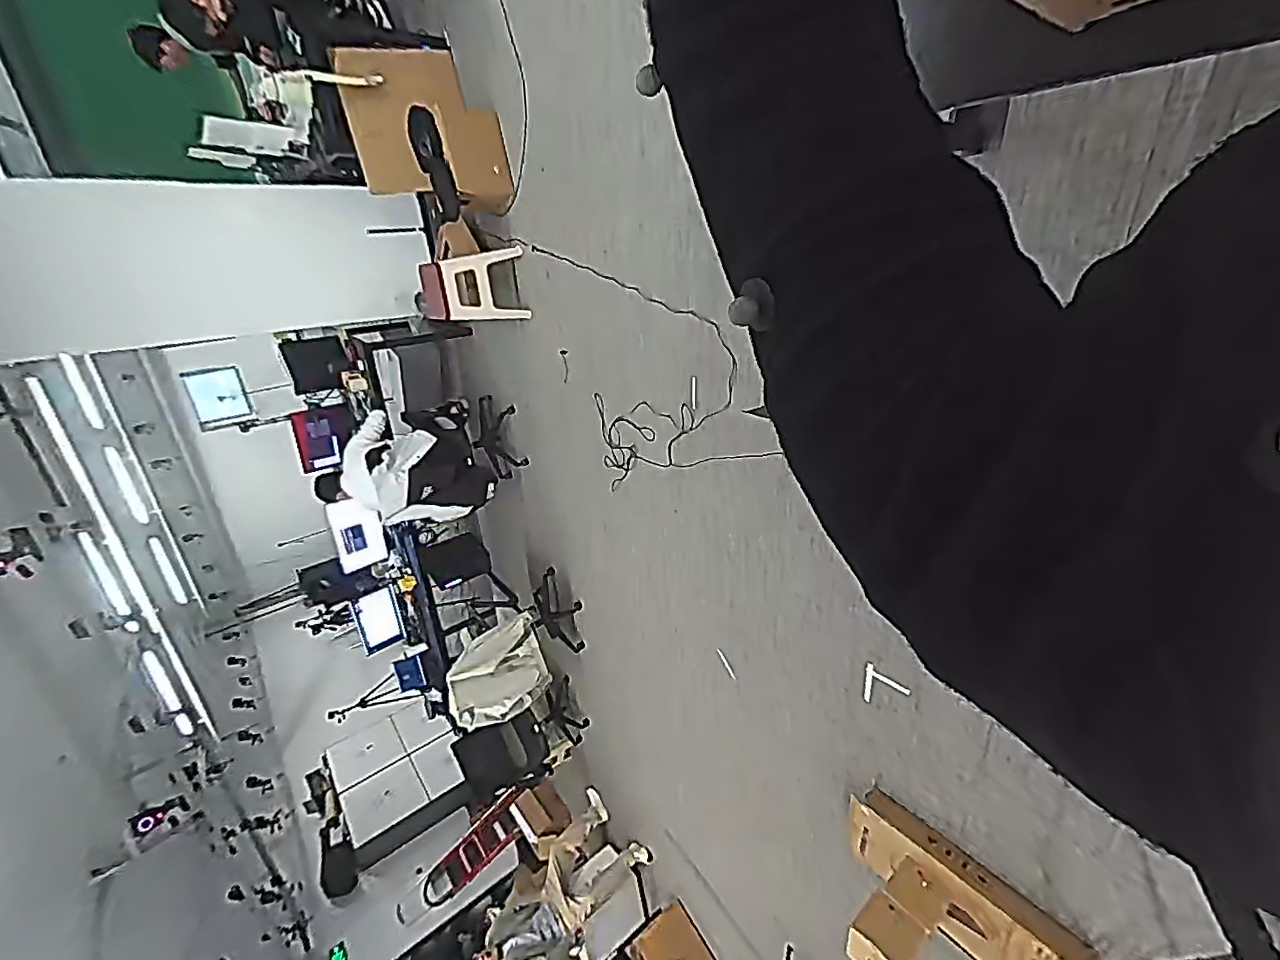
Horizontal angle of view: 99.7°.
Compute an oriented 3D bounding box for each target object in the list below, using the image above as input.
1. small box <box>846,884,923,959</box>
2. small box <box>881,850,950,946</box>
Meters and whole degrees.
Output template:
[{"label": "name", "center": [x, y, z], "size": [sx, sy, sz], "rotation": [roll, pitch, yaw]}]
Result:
[{"label": "small box", "center": [0.812, 1.509, 1.795], "size": [0.168, 0.176, 0.179], "rotation": [24, 127, 47]}, {"label": "small box", "center": [0.944, 1.447, 1.875], "size": [0.168, 0.176, 0.179], "rotation": [29, 129, 44]}]
